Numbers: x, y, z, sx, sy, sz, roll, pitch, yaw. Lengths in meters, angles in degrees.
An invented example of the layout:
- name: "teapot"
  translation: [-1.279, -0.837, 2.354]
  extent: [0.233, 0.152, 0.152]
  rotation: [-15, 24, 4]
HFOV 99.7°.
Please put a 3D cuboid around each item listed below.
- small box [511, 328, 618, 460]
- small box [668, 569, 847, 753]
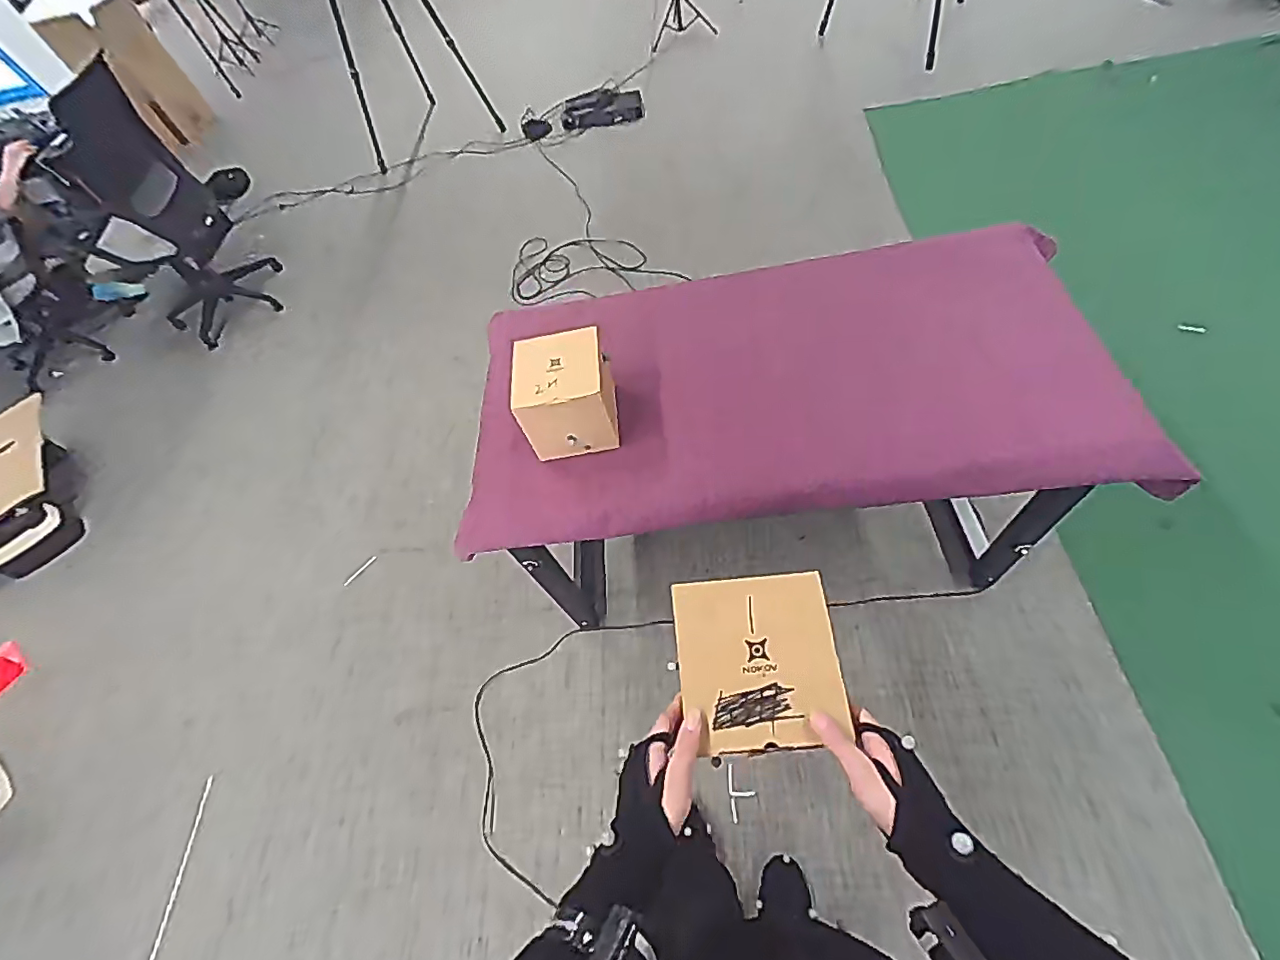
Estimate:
- name: "small box"
  translation: [-0.141, -0.165, 1.059]
  extent: [0.168, 0.176, 0.179]
  rotation: [-9, 57, 6]
- name: "small box"
  translation: [0.125, 0.217, 0.635]
  extent: [0.168, 0.176, 0.179]
  rotation: [-5, 63, 3]
